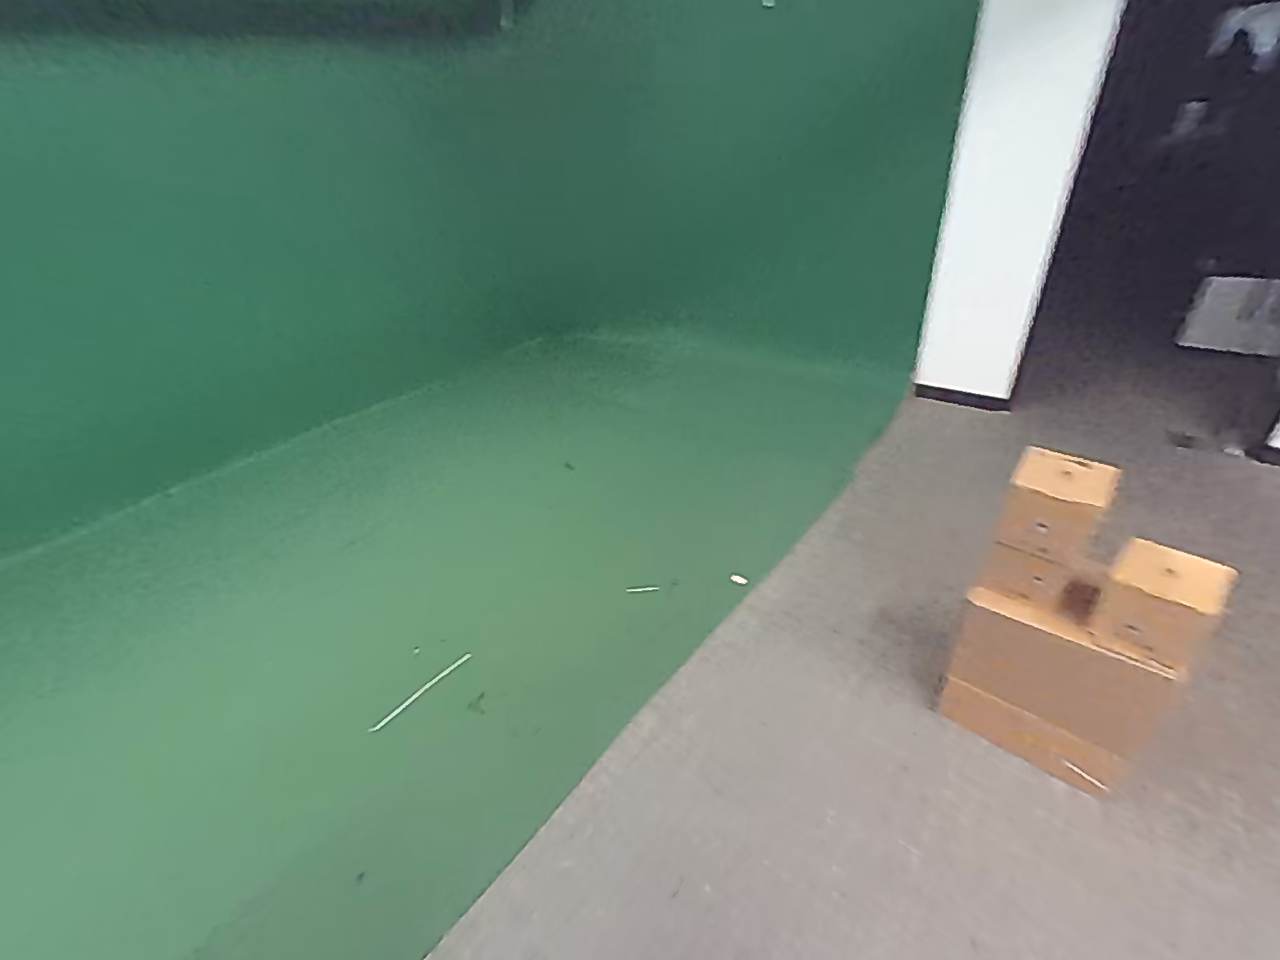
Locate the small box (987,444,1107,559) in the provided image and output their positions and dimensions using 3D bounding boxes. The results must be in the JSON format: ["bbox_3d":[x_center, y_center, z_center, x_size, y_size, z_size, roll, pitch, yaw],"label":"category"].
[{"bbox_3d":[0.915,0.049,1.228,0.168,0.176,0.179,23,46,34],"label":"small box"}]

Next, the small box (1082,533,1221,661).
[{"bbox_3d":[1.106,0.253,1.179,0.179,0.176,0.168,-32,39,-31],"label":"small box"}]

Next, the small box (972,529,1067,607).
[{"bbox_3d":[0.942,0.177,1.328,0.168,0.176,0.179,25,46,36],"label":"small box"}]
